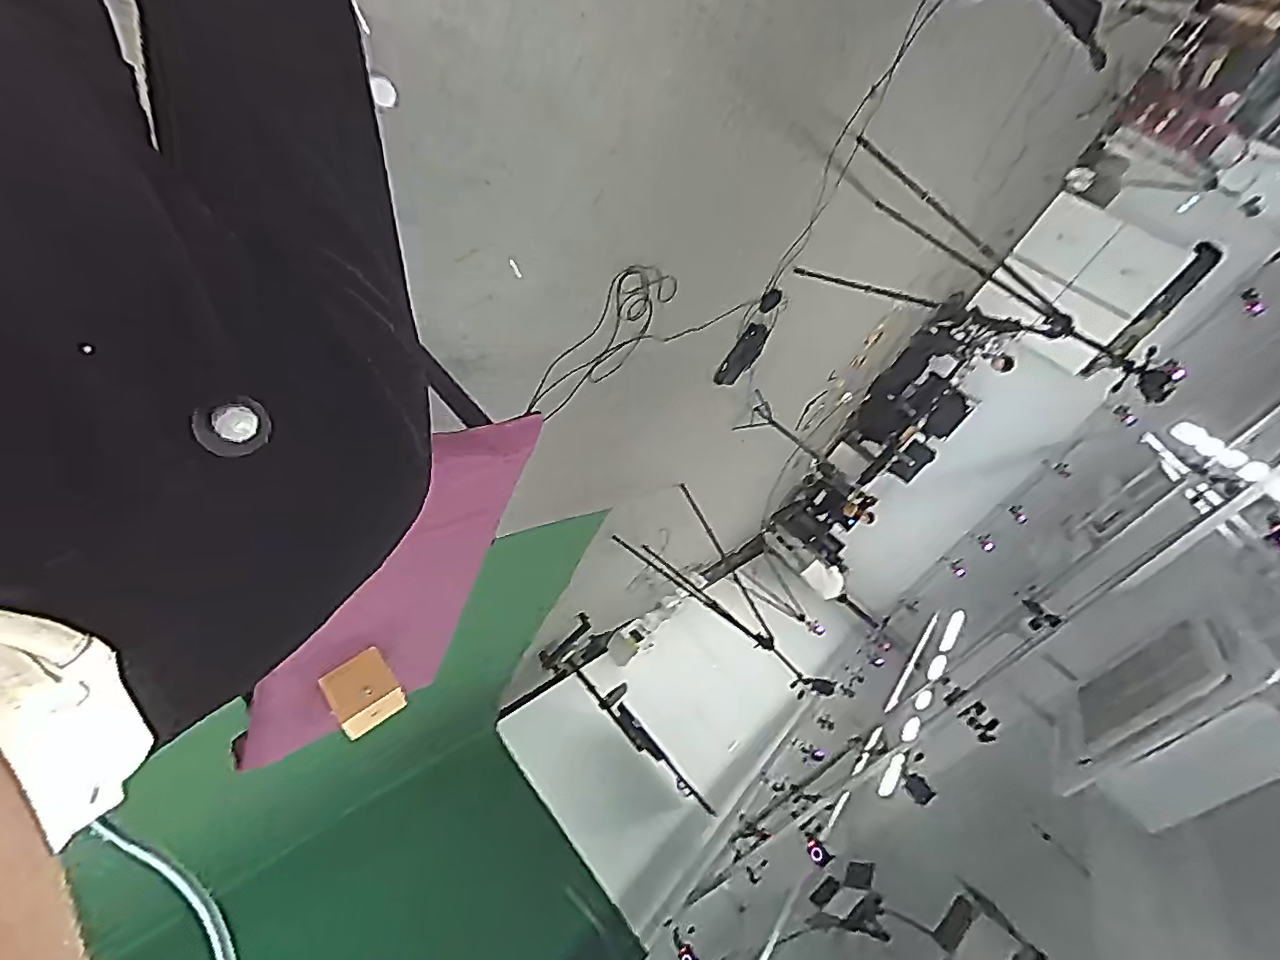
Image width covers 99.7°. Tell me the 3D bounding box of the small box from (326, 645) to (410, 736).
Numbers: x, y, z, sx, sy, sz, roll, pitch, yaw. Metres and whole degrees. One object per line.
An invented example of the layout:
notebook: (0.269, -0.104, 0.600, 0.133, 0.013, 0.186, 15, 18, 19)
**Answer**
small box: (-0.854, 0.654, 1.692, 0.179, 0.176, 0.168, -31, 153, -33)
